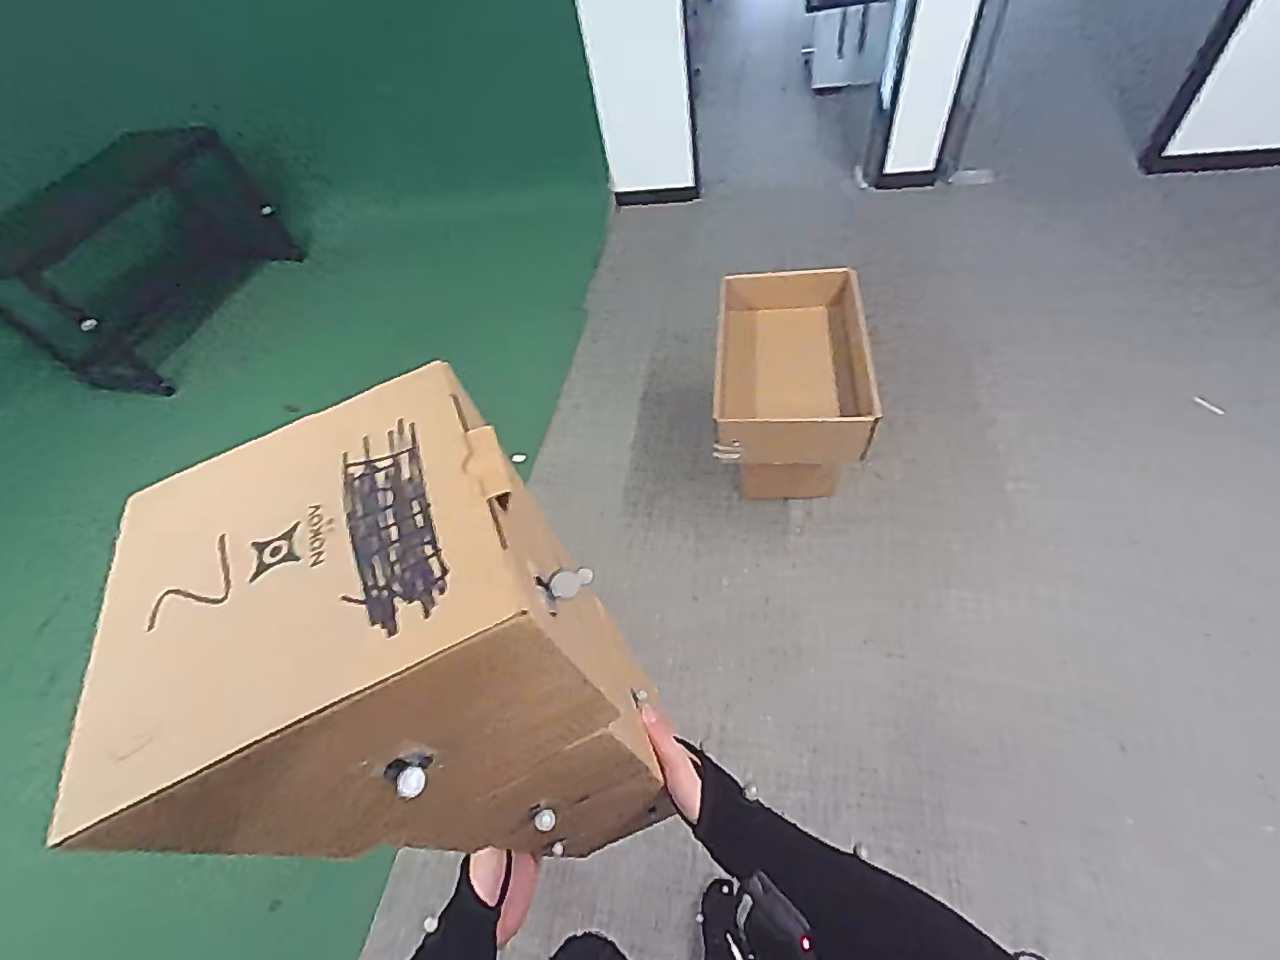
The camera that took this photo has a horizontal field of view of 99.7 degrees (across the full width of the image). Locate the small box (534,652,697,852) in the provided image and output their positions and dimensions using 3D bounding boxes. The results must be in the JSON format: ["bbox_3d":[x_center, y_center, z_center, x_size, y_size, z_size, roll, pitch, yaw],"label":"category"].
[{"bbox_3d":[-0.041,0.354,0.695,0.179,0.176,0.168,-21,52,-4],"label":"small box"}]

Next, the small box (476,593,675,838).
[{"bbox_3d":[-0.071,0.253,0.568,0.168,0.176,0.179,-20,51,-2],"label":"small box"}]

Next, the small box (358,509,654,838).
[{"bbox_3d":[-0.100,0.159,0.436,0.168,0.176,0.179,-22,53,-3],"label":"small box"}]
